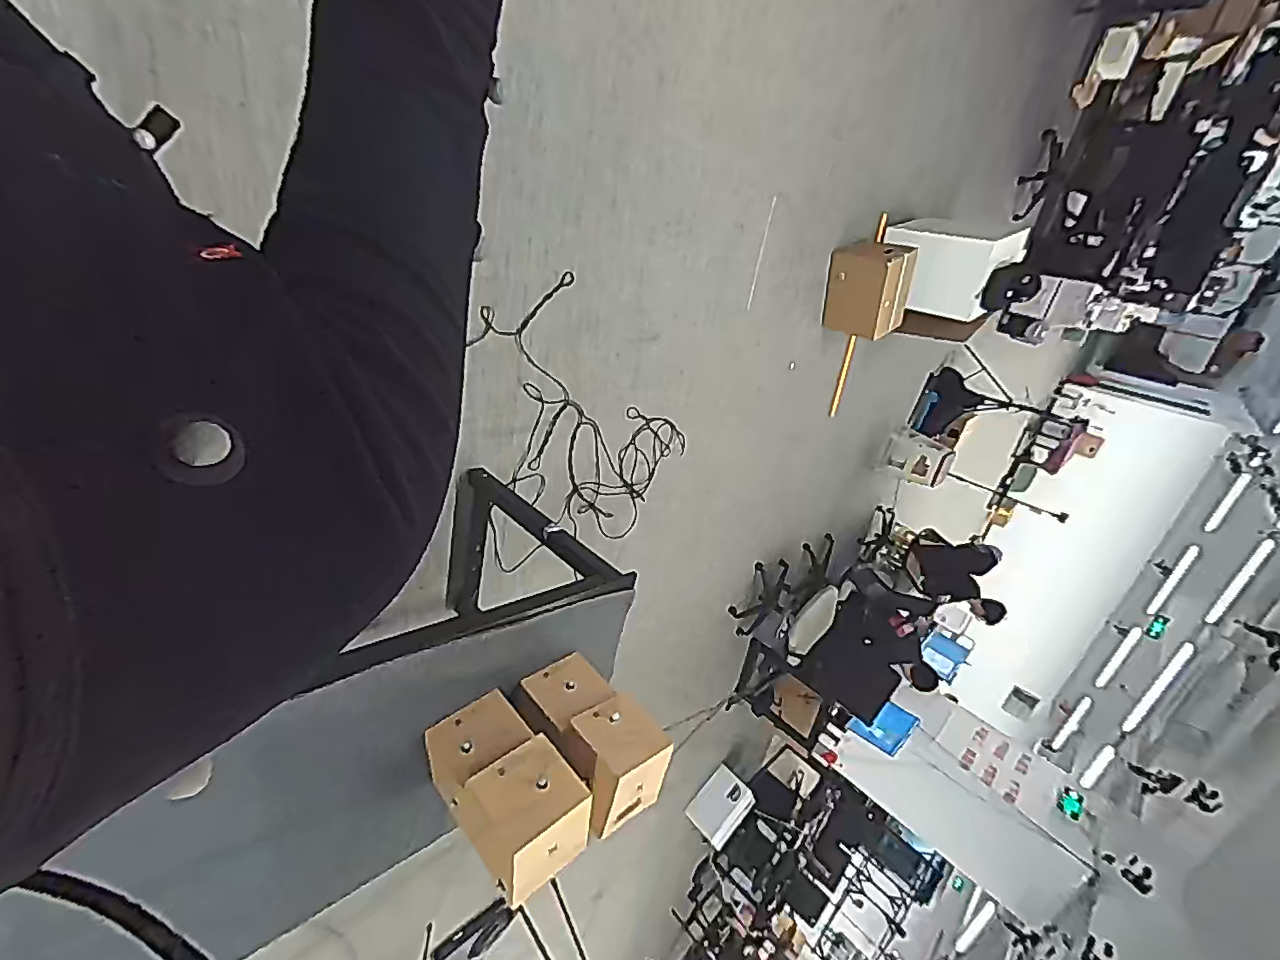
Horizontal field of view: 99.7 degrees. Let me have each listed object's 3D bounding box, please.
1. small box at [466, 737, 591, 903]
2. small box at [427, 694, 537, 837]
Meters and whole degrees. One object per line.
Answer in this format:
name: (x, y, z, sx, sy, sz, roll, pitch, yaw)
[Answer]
small box: (-0.212, 0.618, 1.011, 0.168, 0.176, 0.179, -19, 128, -39)
small box: (-0.325, 0.576, 1.122, 0.168, 0.176, 0.179, -21, 130, -38)
